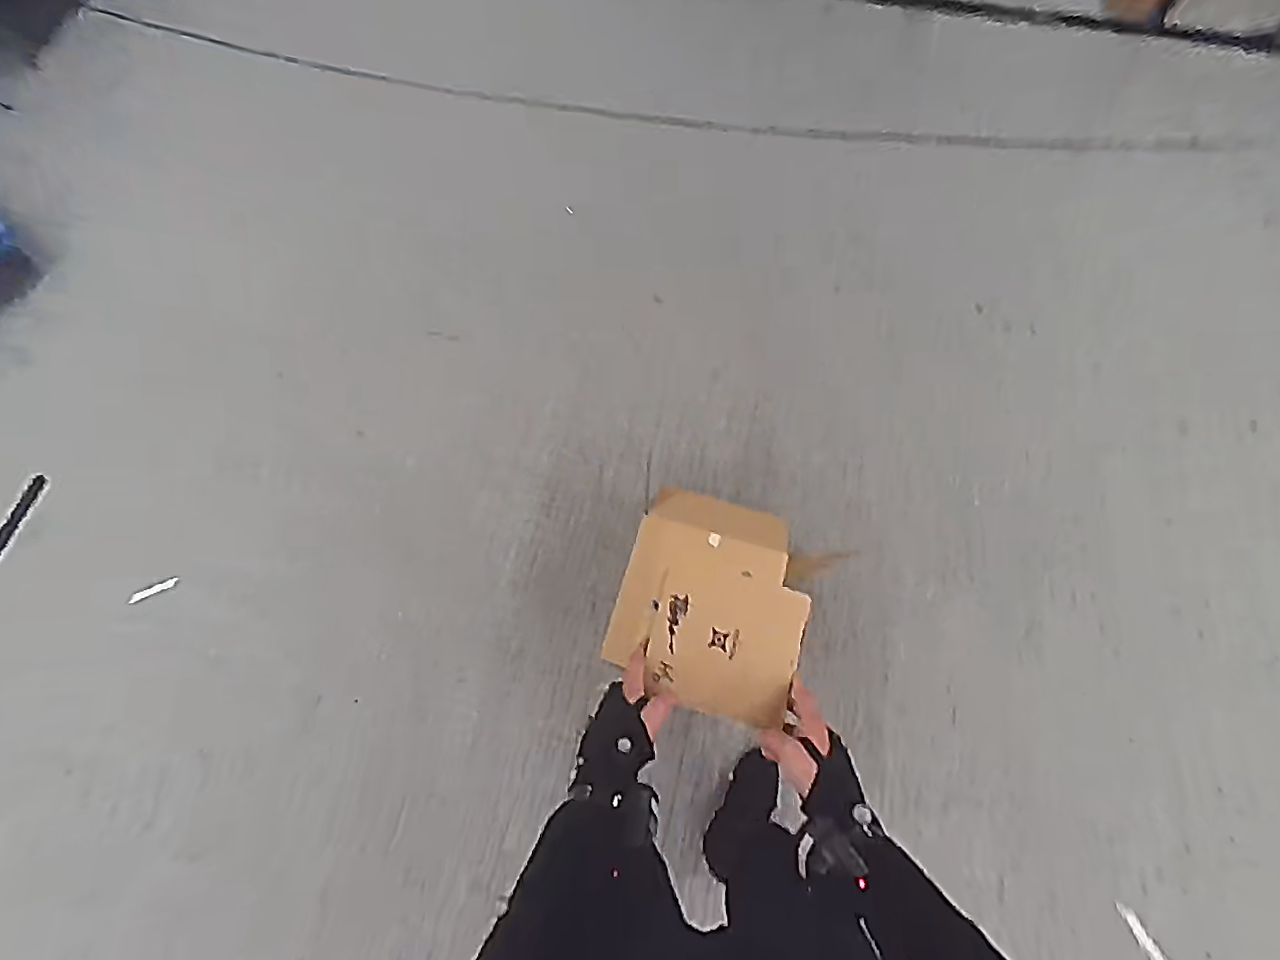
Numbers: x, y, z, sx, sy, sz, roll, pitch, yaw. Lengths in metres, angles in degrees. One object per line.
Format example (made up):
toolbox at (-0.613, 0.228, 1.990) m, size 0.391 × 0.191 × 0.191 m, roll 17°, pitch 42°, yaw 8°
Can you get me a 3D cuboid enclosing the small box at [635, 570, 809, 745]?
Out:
small box at (0.099, 0.223, 0.720) m, size 0.179 × 0.176 × 0.168 m, roll 16°, pitch 78°, yaw 3°
